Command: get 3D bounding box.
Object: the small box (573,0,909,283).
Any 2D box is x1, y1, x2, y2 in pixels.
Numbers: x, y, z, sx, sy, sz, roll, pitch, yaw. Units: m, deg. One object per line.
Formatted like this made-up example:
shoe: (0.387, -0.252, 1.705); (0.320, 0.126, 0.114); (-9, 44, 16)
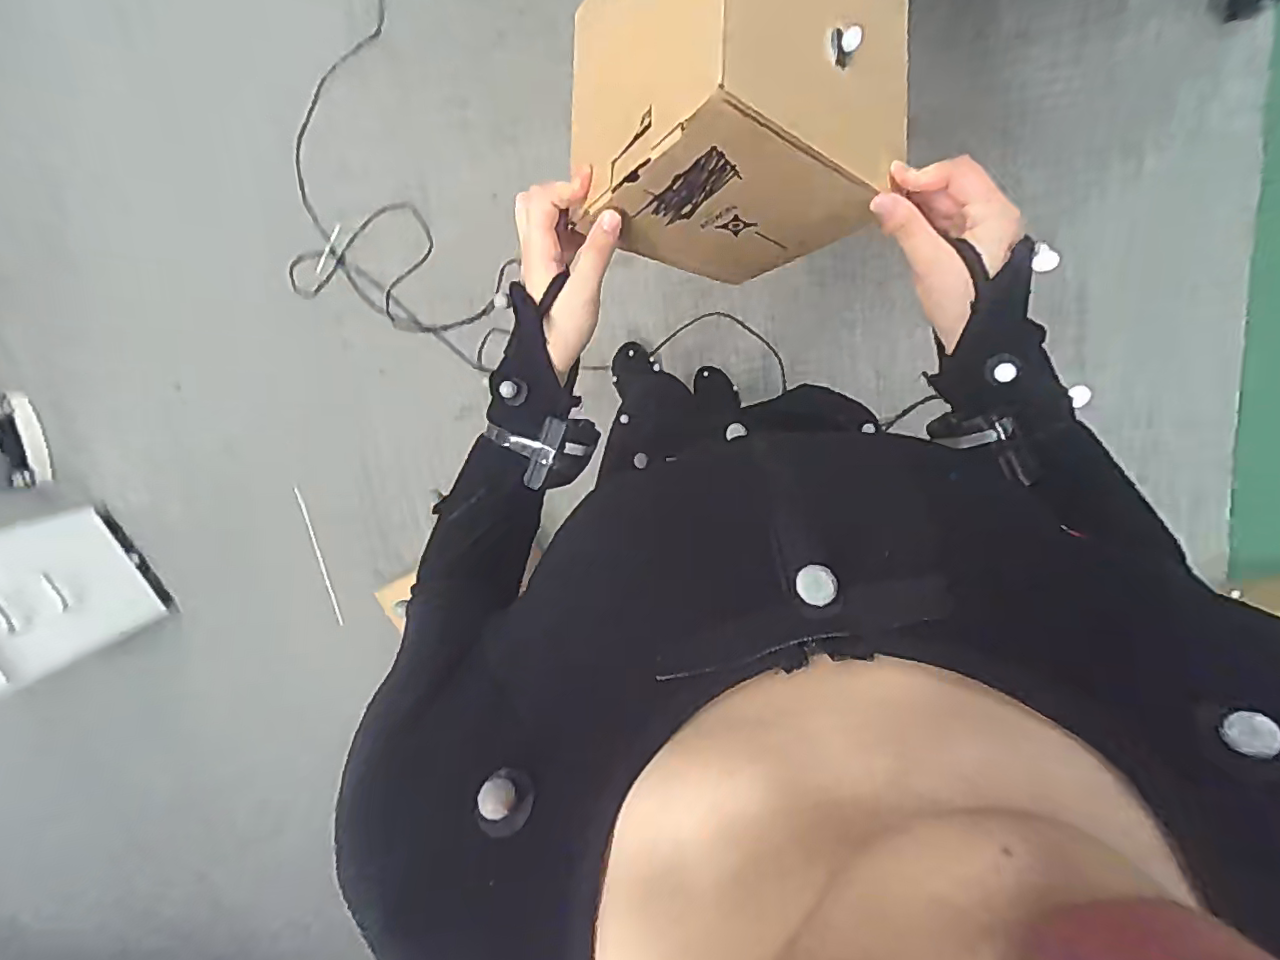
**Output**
small box: (0.068, -0.271, 0.388); (0.179, 0.168, 0.176); (4, 86, -35)
